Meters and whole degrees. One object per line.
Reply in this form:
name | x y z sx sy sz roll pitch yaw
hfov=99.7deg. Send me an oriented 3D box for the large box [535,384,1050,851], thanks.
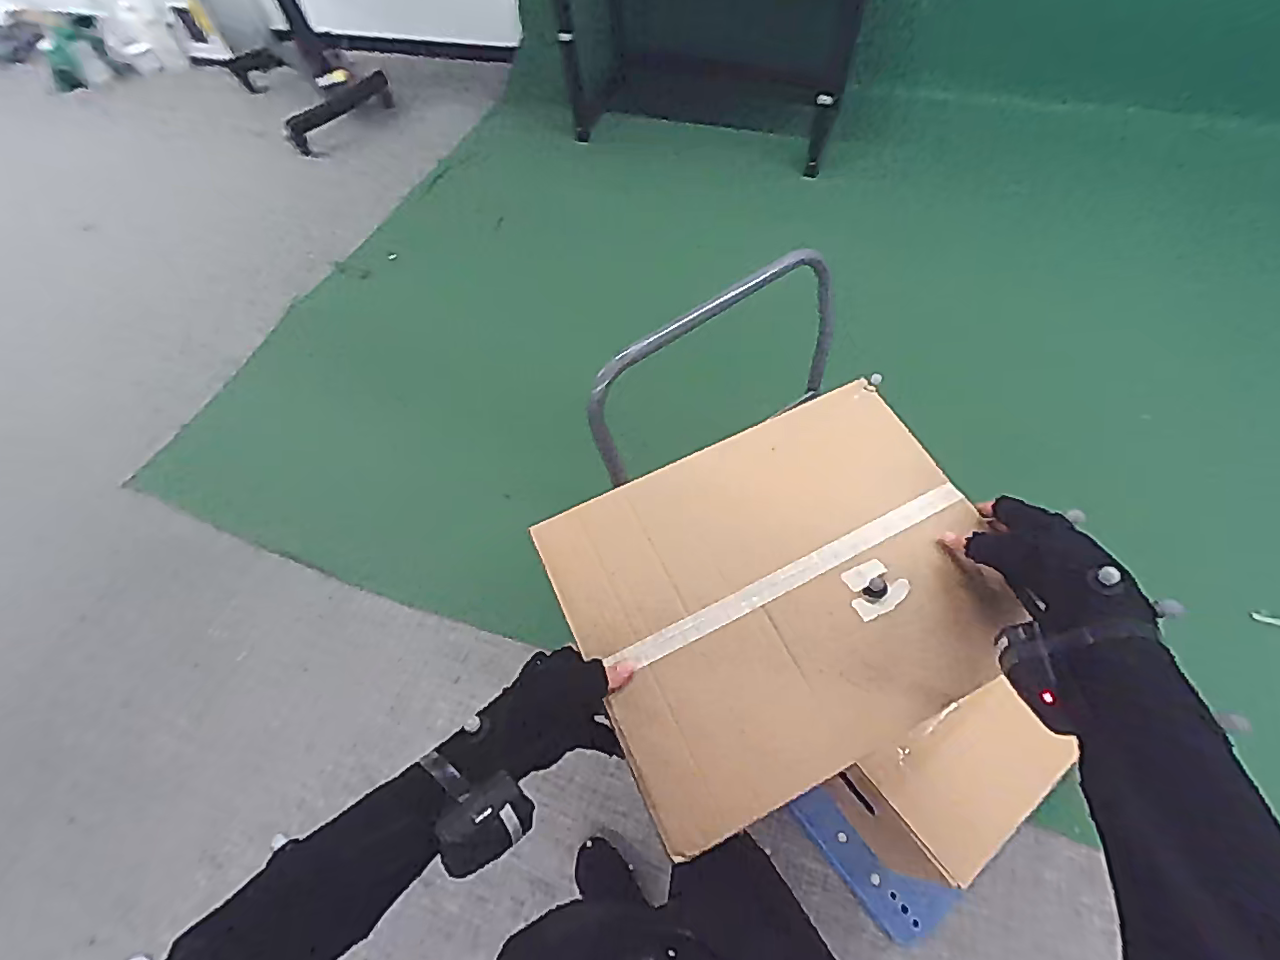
large box | 0.137 0.157 0.651 0.408 0.320 0.320 -24 67 -11
